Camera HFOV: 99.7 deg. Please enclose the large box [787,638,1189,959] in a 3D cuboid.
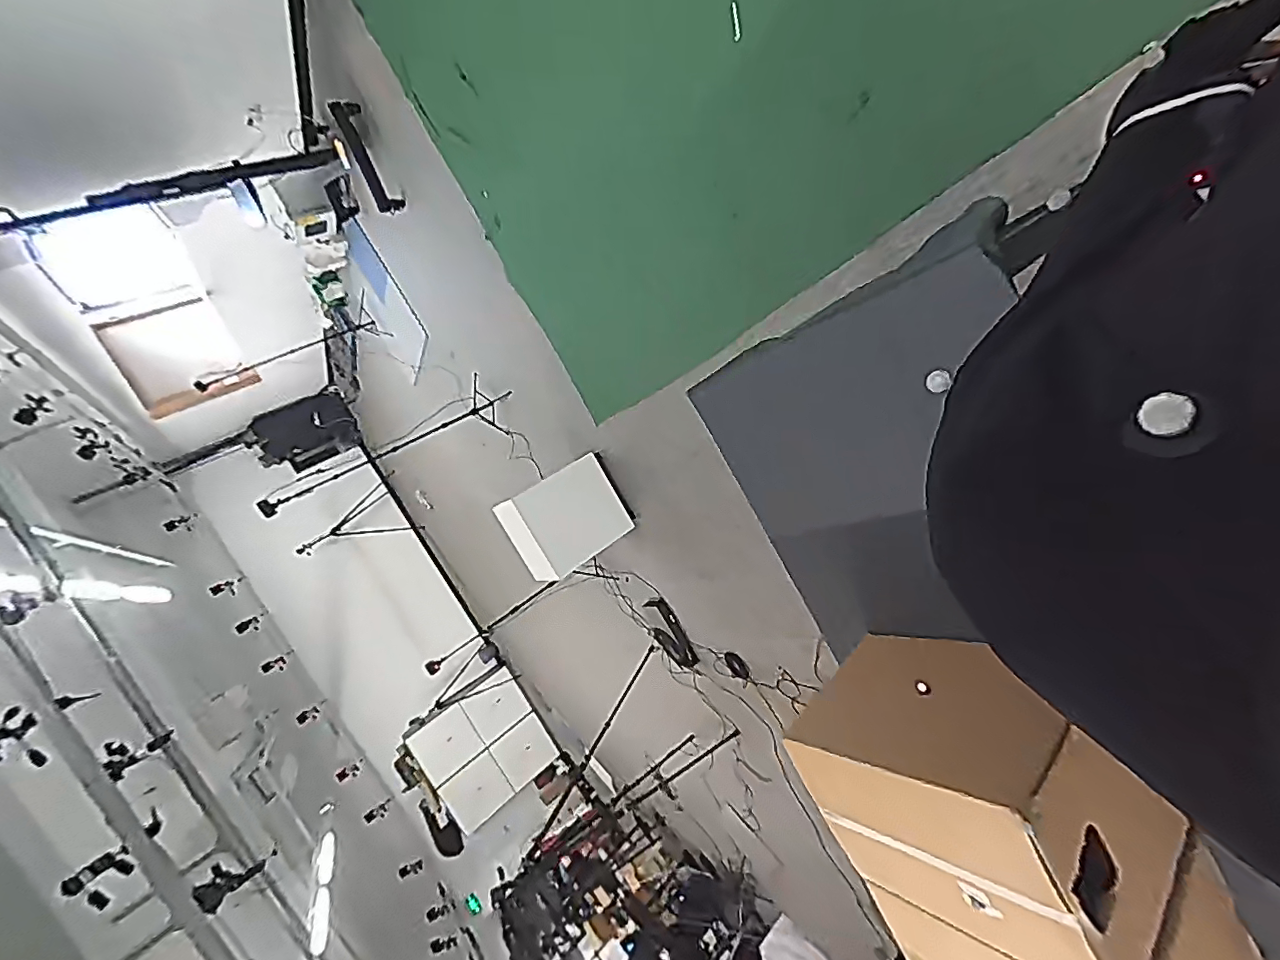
[{"bbox_3d":[0.531,0.477,0.872,0.320,0.320,0.408,60,149,-4],"label":"large box"}]
